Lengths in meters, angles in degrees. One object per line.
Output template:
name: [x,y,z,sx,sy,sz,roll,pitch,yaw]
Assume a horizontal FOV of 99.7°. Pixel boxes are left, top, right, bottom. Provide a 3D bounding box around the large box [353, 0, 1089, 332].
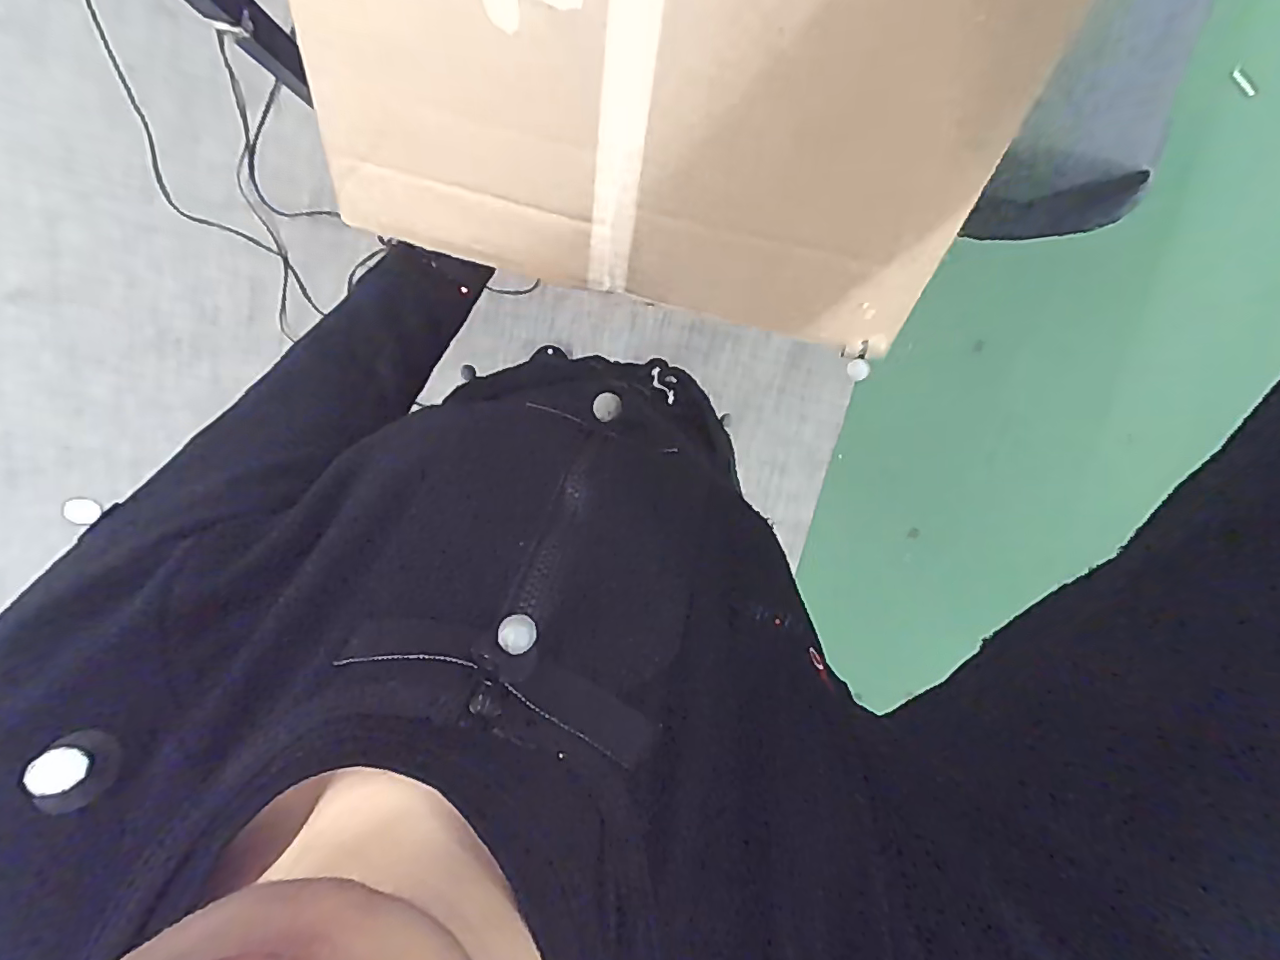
large box: [0.056,-0.357,0.271,0.320,0.320,0.408,14,138,2]
